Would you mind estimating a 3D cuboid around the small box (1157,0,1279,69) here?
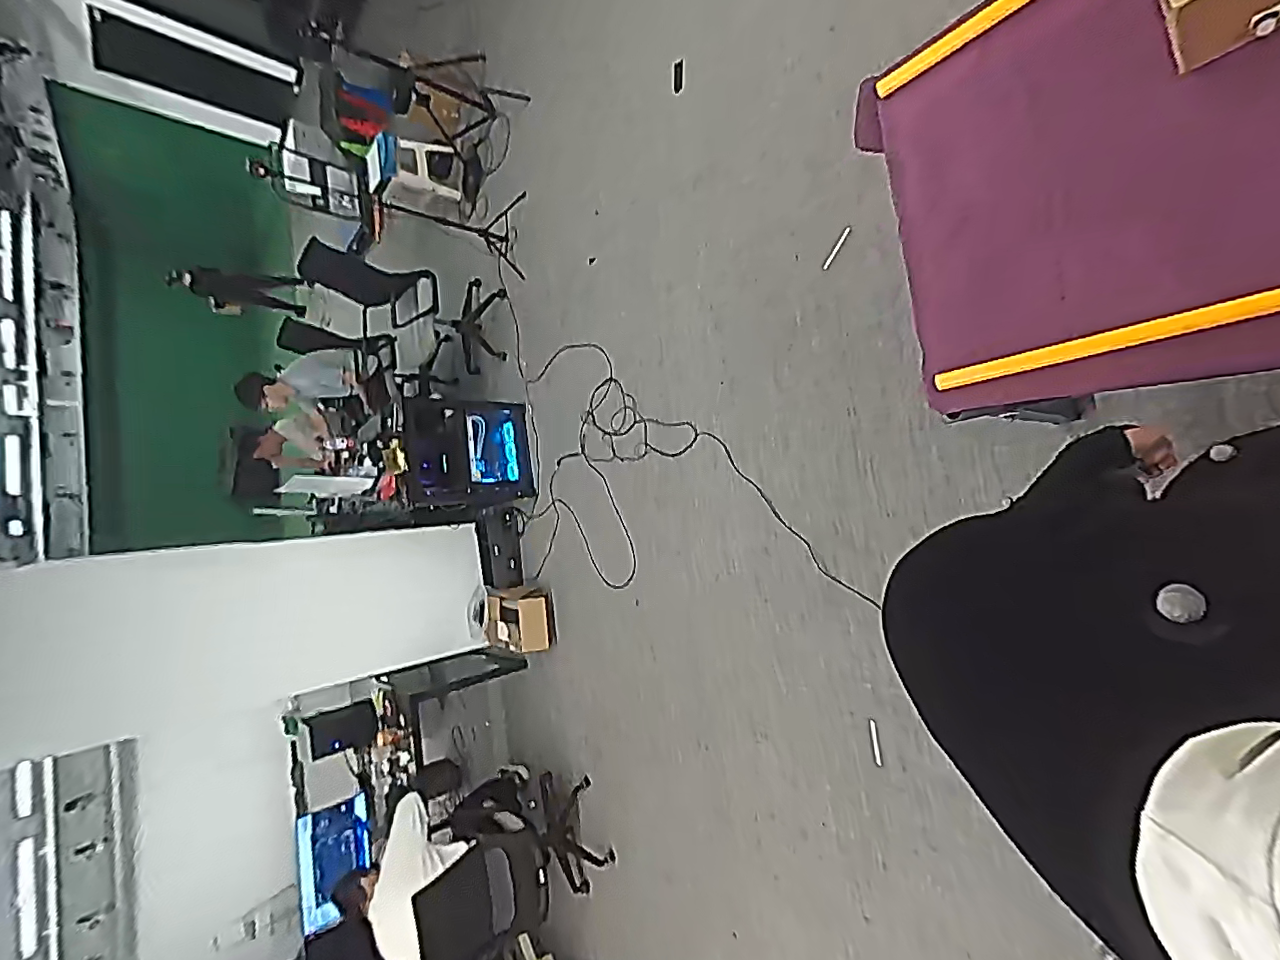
[{"bbox_3d":[0.639,-0.584,0.554,0.168,0.176,0.179,-16,82,48],"label":"small box"}]
